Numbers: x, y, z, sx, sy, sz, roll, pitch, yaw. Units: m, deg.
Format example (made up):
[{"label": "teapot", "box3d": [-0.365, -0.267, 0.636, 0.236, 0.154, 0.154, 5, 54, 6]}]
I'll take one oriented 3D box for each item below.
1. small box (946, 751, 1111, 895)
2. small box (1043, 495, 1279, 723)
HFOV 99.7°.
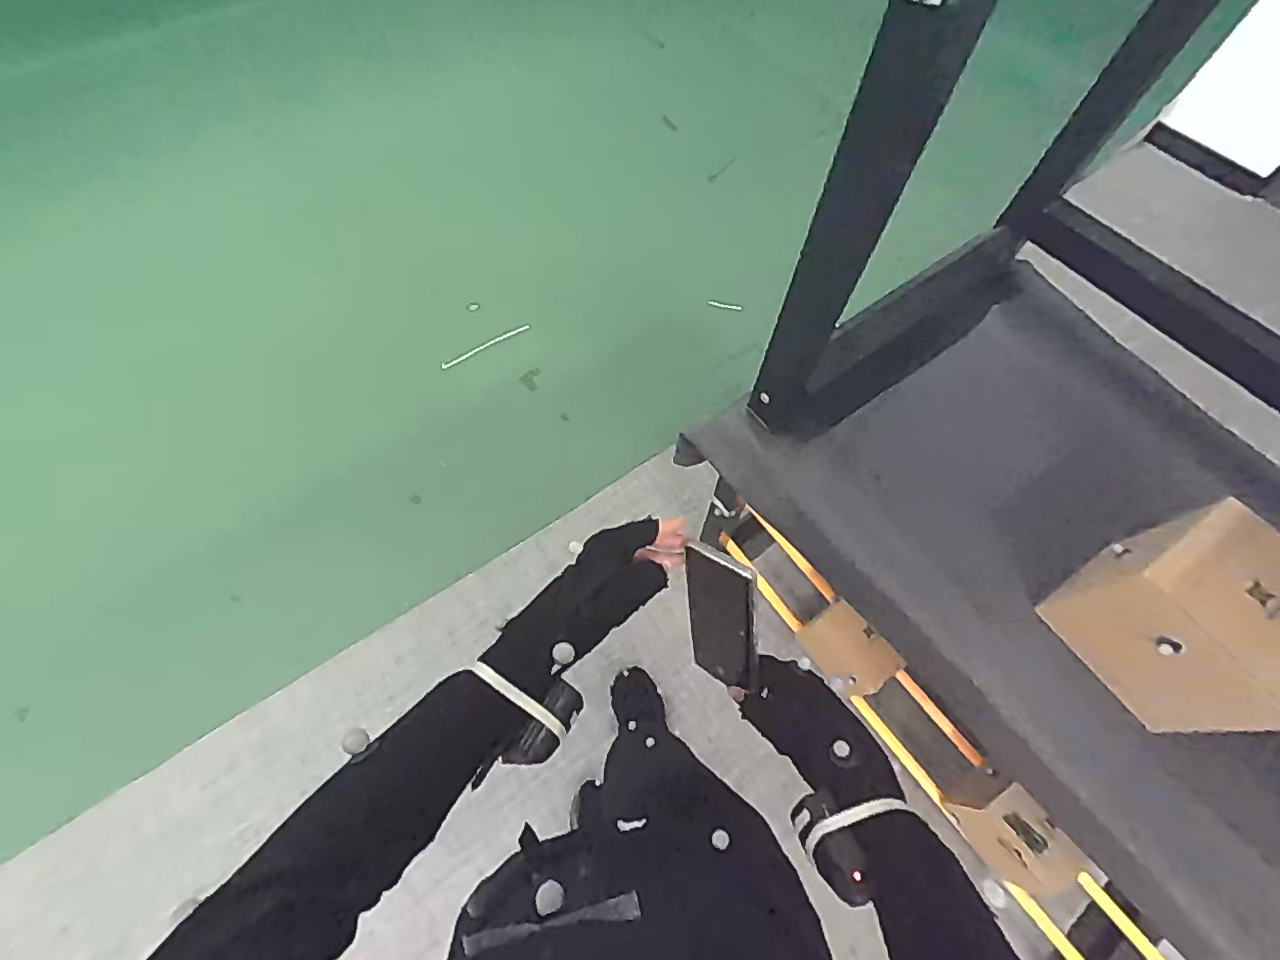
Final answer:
[{"label": "small box", "box3d": [0.743, 0.659, 1.063, 0.179, 0.176, 0.168, -30, 68, -14]}, {"label": "small box", "box3d": [0.622, 0.153, 0.614, 0.168, 0.176, 0.179, -30, 68, -14]}]
